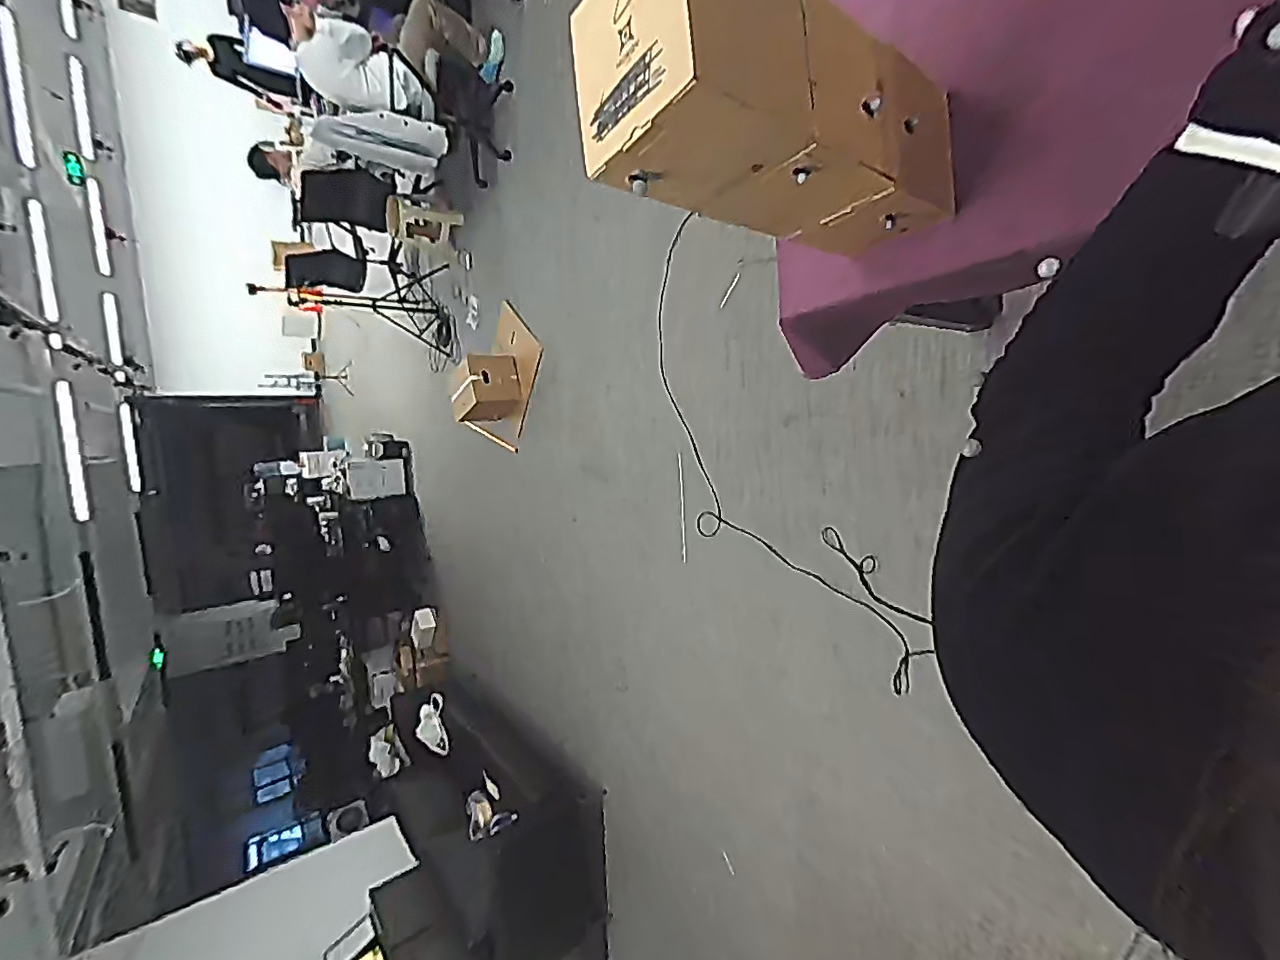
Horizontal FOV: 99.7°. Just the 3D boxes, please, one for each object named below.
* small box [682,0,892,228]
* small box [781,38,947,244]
[{"bbox_3d":[0.176,-0.430,0.657,0.179,0.176,0.168,-5,92,51],"label":"small box"},{"bbox_3d":[0.307,-0.446,0.752,0.168,0.176,0.179,-1,94,52],"label":"small box"}]
